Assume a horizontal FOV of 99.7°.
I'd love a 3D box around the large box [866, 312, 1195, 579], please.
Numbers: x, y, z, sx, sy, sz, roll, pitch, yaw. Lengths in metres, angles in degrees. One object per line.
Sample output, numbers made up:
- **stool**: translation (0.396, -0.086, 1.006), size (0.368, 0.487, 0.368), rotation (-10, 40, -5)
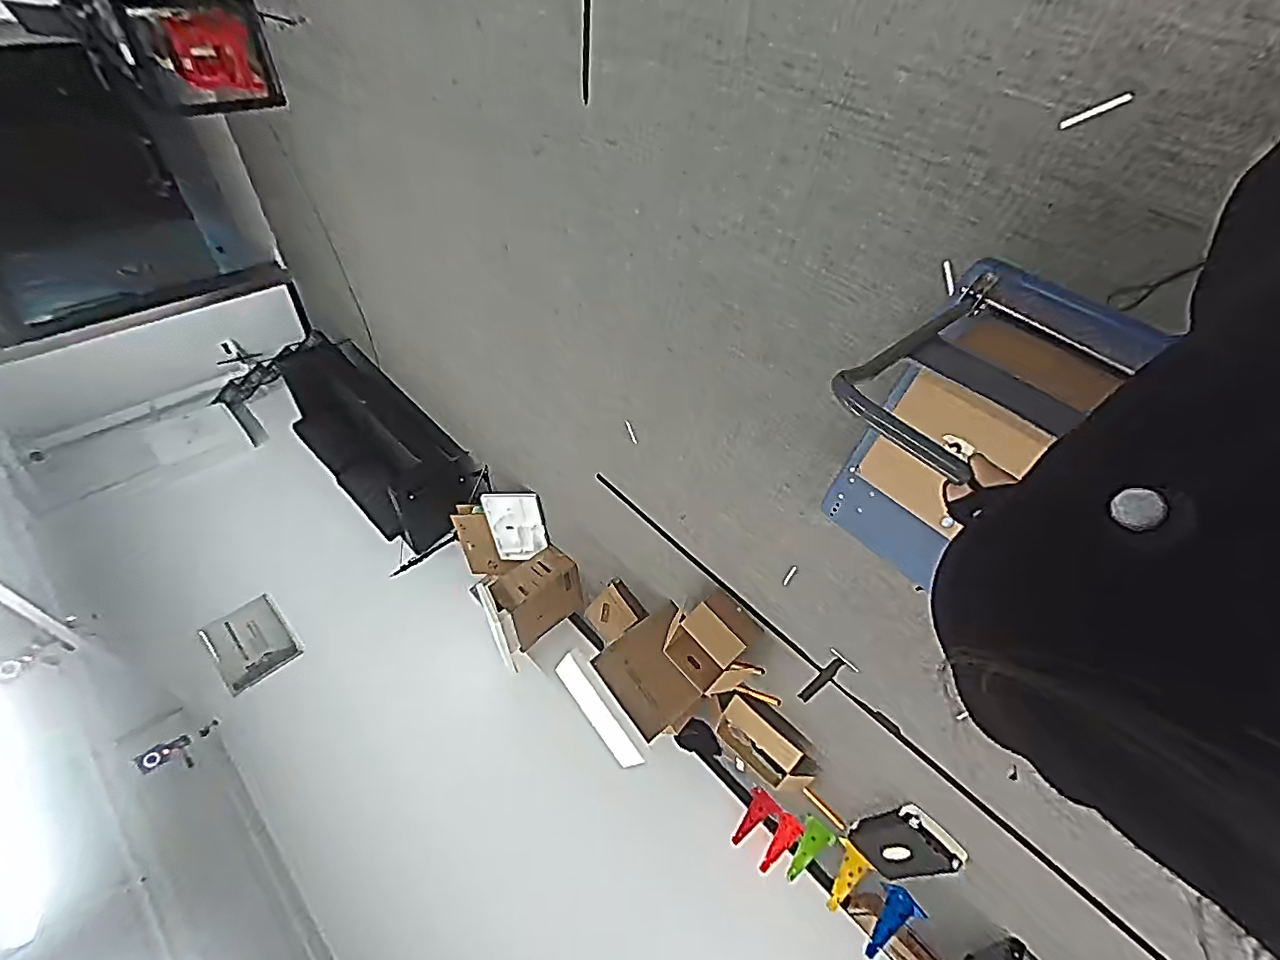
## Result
- **large box**: translation (0.776, -0.083, 1.119), size (0.408, 0.320, 0.320), rotation (42, 145, 24)
